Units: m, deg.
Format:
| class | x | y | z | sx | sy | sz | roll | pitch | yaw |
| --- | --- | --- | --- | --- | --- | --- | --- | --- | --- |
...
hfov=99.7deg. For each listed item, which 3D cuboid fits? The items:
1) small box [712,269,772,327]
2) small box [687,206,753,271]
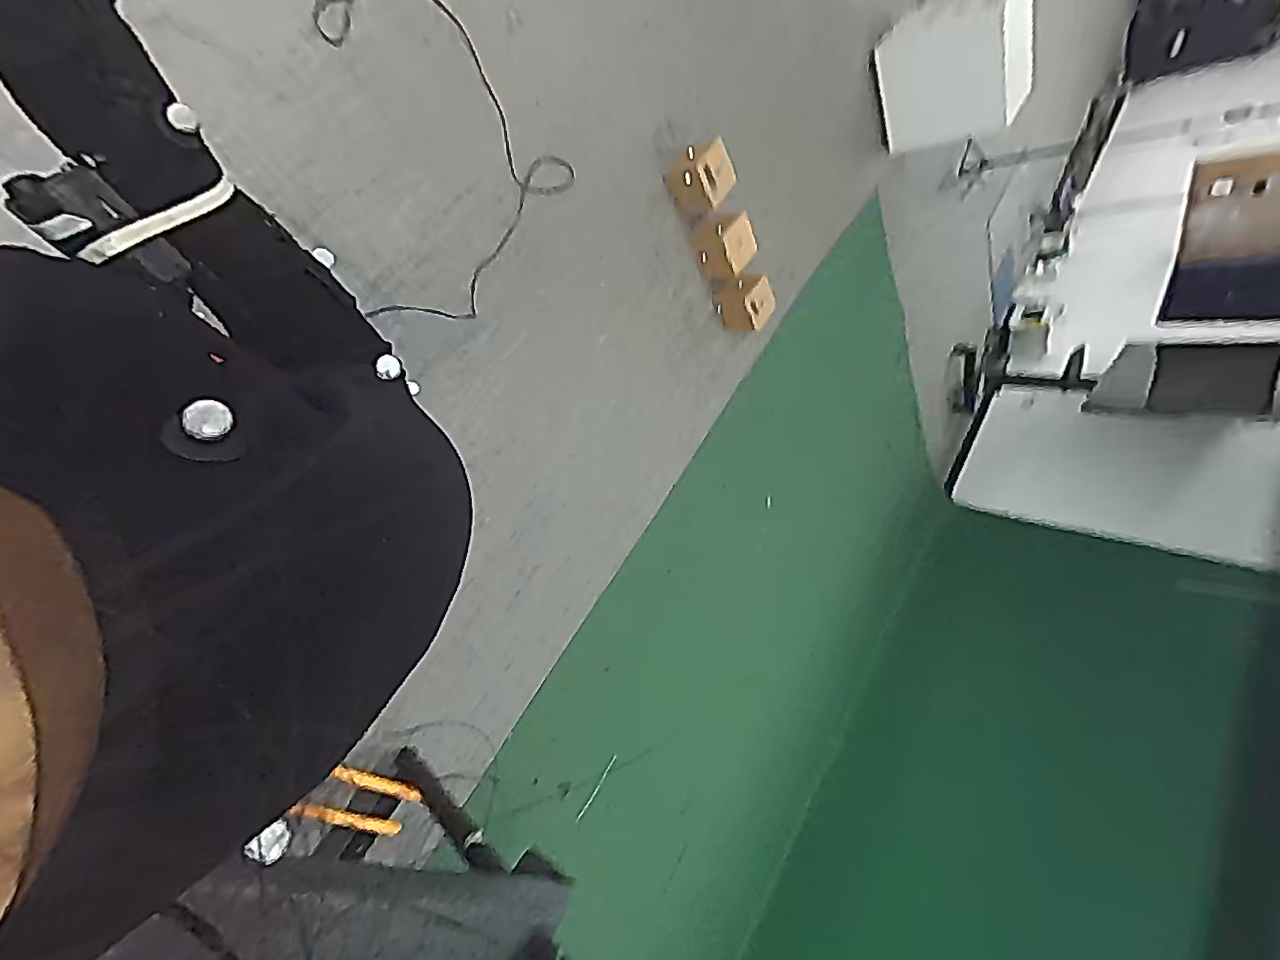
| class | x | y | z | sx | sy | sz | roll | pitch | yaw |
| --- | --- | --- | --- | --- | --- | --- | --- | --- | --- |
| small box | 0.427 | -0.769 | 2.294 | 0.179 | 0.176 | 0.168 | -54 | 134 | -20 |
| small box | 0.312 | -0.943 | 2.123 | 0.179 | 0.176 | 0.168 | -53 | 134 | -20 |
